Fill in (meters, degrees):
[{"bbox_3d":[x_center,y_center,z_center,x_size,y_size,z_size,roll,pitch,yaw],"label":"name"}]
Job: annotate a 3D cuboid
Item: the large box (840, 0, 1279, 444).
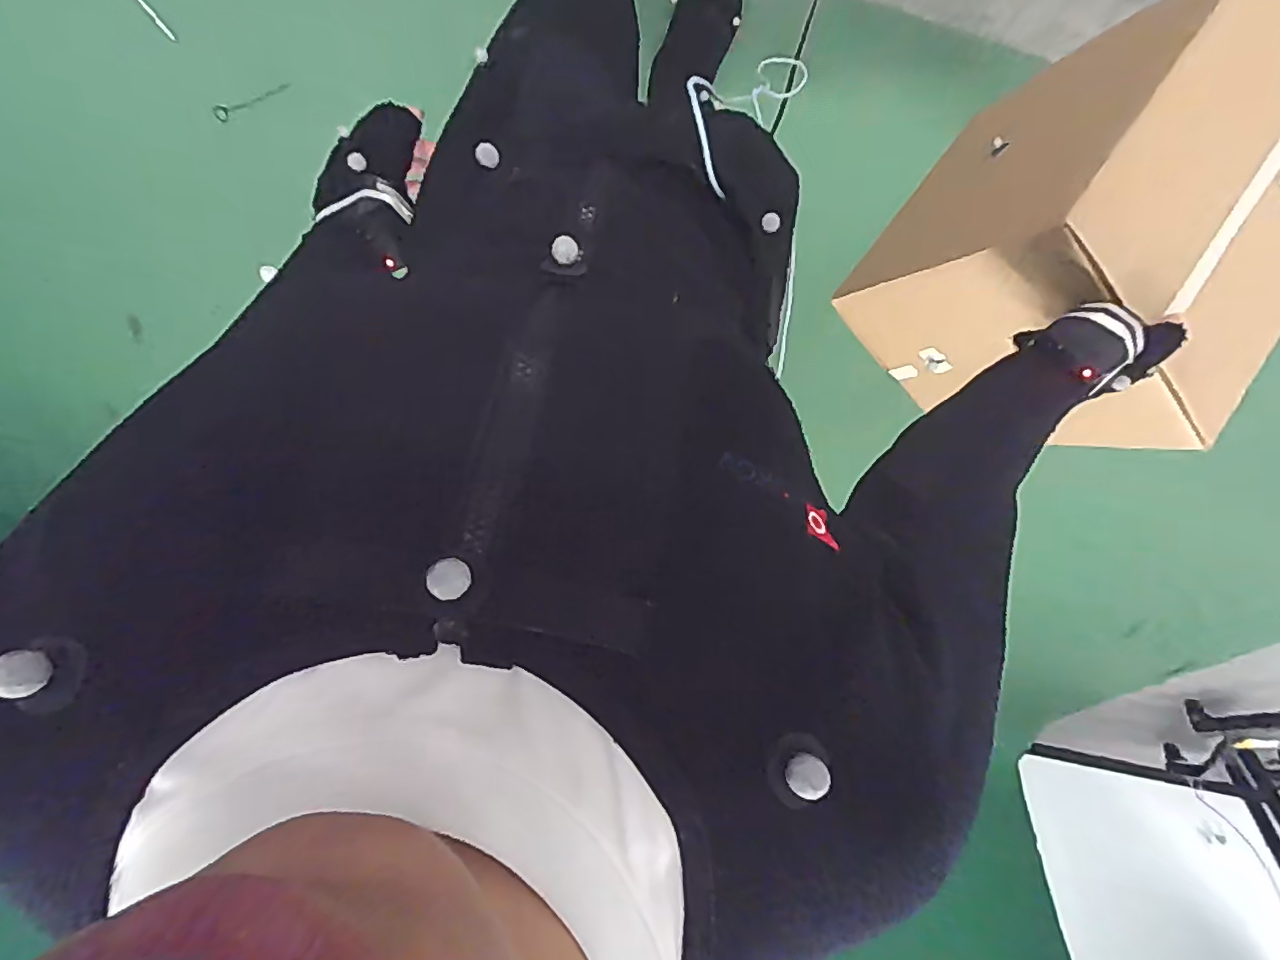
[{"bbox_3d":[0.547,-0.293,0.689,0.320,0.408,0.320,41,172,-19],"label":"large box"}]
